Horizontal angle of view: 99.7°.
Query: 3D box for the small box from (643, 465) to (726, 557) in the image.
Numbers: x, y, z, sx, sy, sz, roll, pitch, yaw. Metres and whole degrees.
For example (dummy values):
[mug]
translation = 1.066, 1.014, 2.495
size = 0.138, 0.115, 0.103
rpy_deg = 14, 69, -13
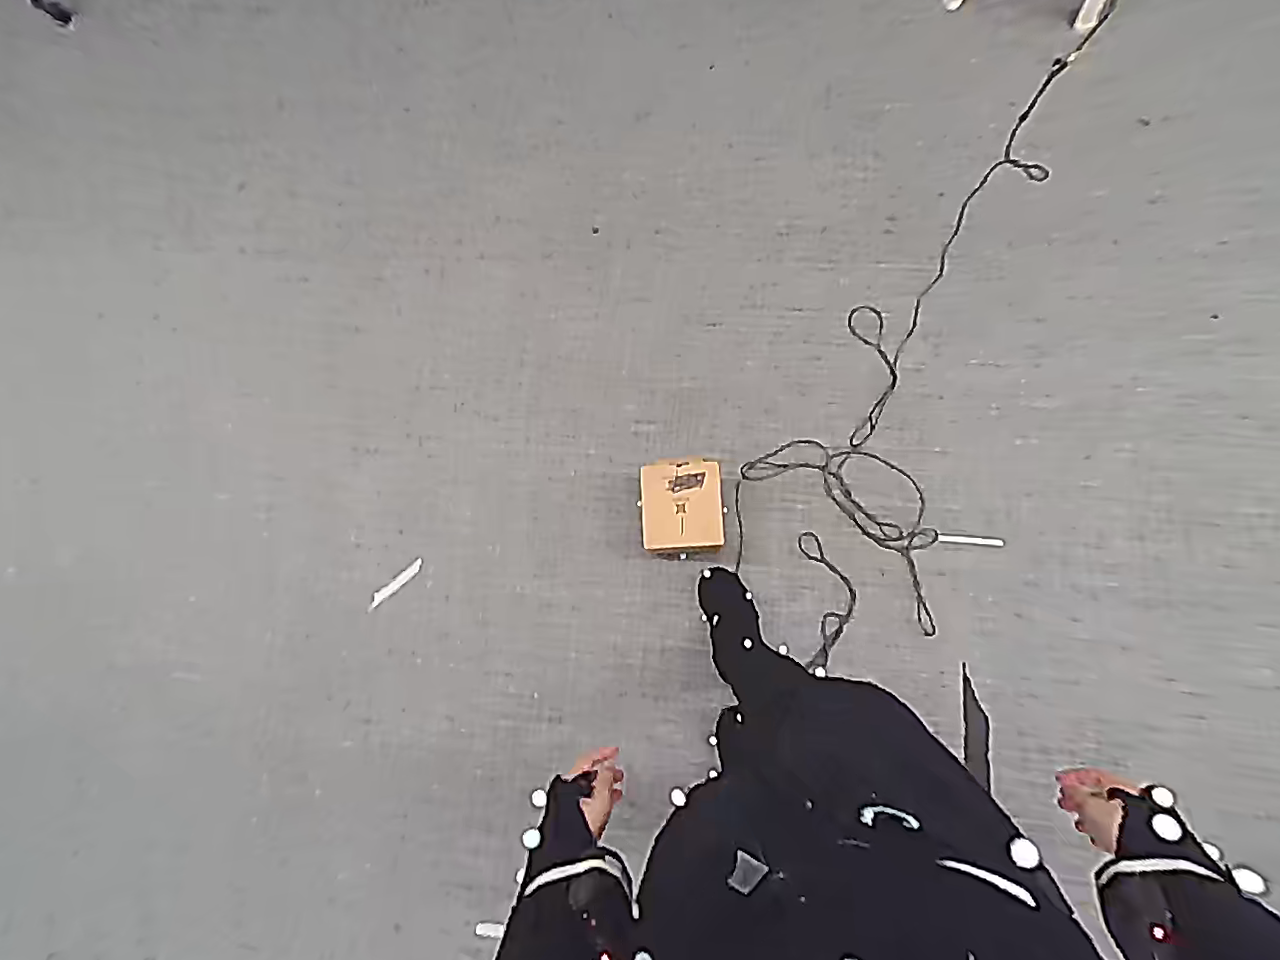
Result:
[small box]
translation = 0.097, 0.073, 1.190
size = 0.168, 0.176, 0.179
rpy_deg = -4, 78, 6
